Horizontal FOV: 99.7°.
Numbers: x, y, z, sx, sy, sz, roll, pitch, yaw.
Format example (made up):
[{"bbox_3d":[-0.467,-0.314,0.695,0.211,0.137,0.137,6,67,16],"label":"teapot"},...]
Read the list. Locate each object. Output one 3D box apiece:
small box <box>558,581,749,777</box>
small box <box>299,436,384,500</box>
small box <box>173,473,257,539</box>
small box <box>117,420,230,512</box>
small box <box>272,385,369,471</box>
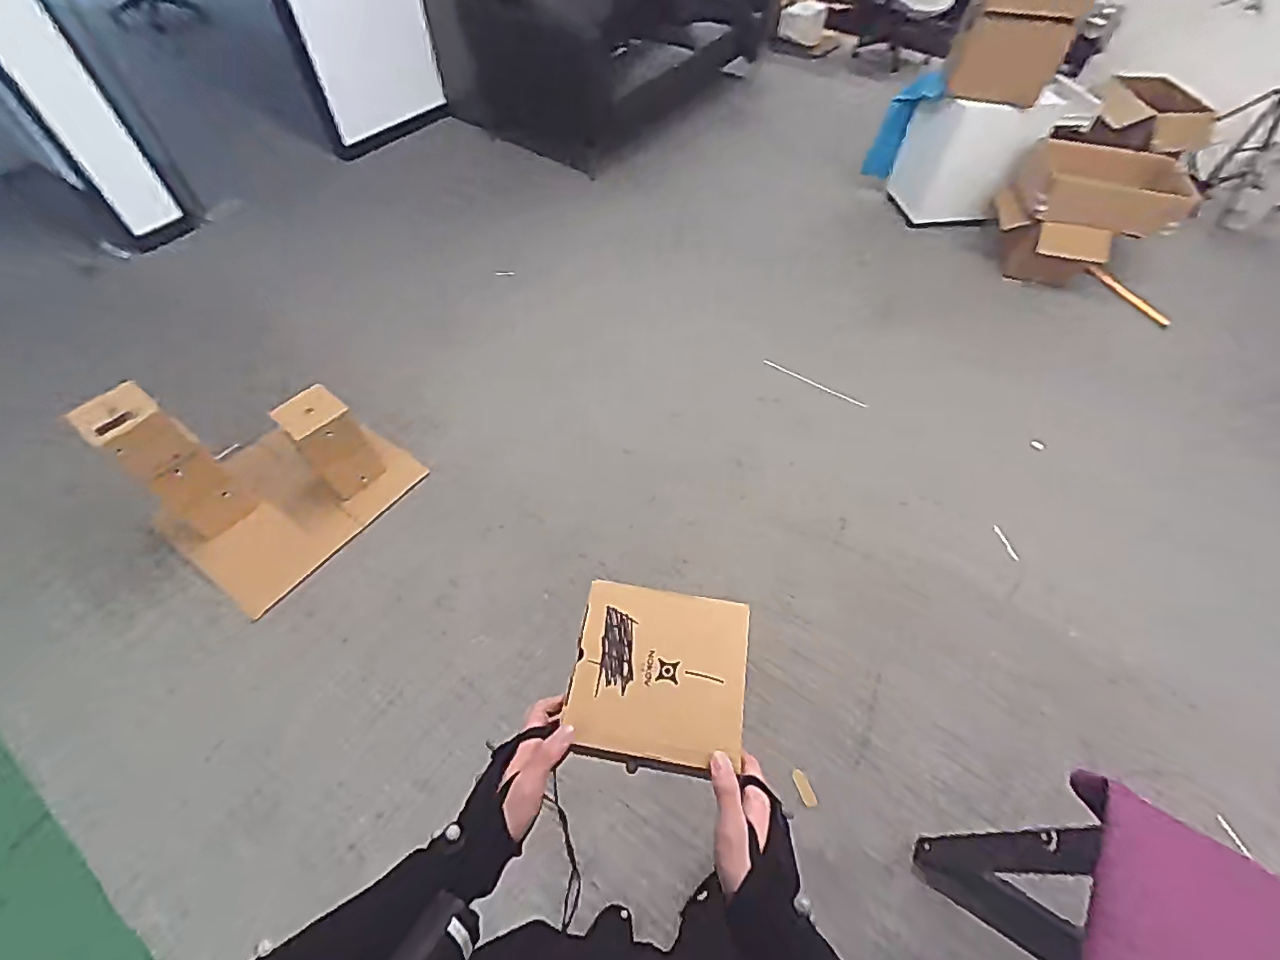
[{"bbox_3d":[0.019,0.232,0.616,0.179,0.176,0.168,8,60,4],"label":"small box"},{"bbox_3d":[-1.009,-0.066,1.853,0.168,0.176,0.179,33,61,20],"label":"small box"},{"bbox_3d":[-1.391,0.057,1.751,0.168,0.176,0.179,32,60,19],"label":"small box"},{"bbox_3d":[-1.383,-0.039,1.622,0.168,0.176,0.179,32,61,18],"label":"small box"},{"bbox_3d":[-1.008,-0.160,1.719,0.168,0.176,0.179,36,62,20],"label":"small box"}]
